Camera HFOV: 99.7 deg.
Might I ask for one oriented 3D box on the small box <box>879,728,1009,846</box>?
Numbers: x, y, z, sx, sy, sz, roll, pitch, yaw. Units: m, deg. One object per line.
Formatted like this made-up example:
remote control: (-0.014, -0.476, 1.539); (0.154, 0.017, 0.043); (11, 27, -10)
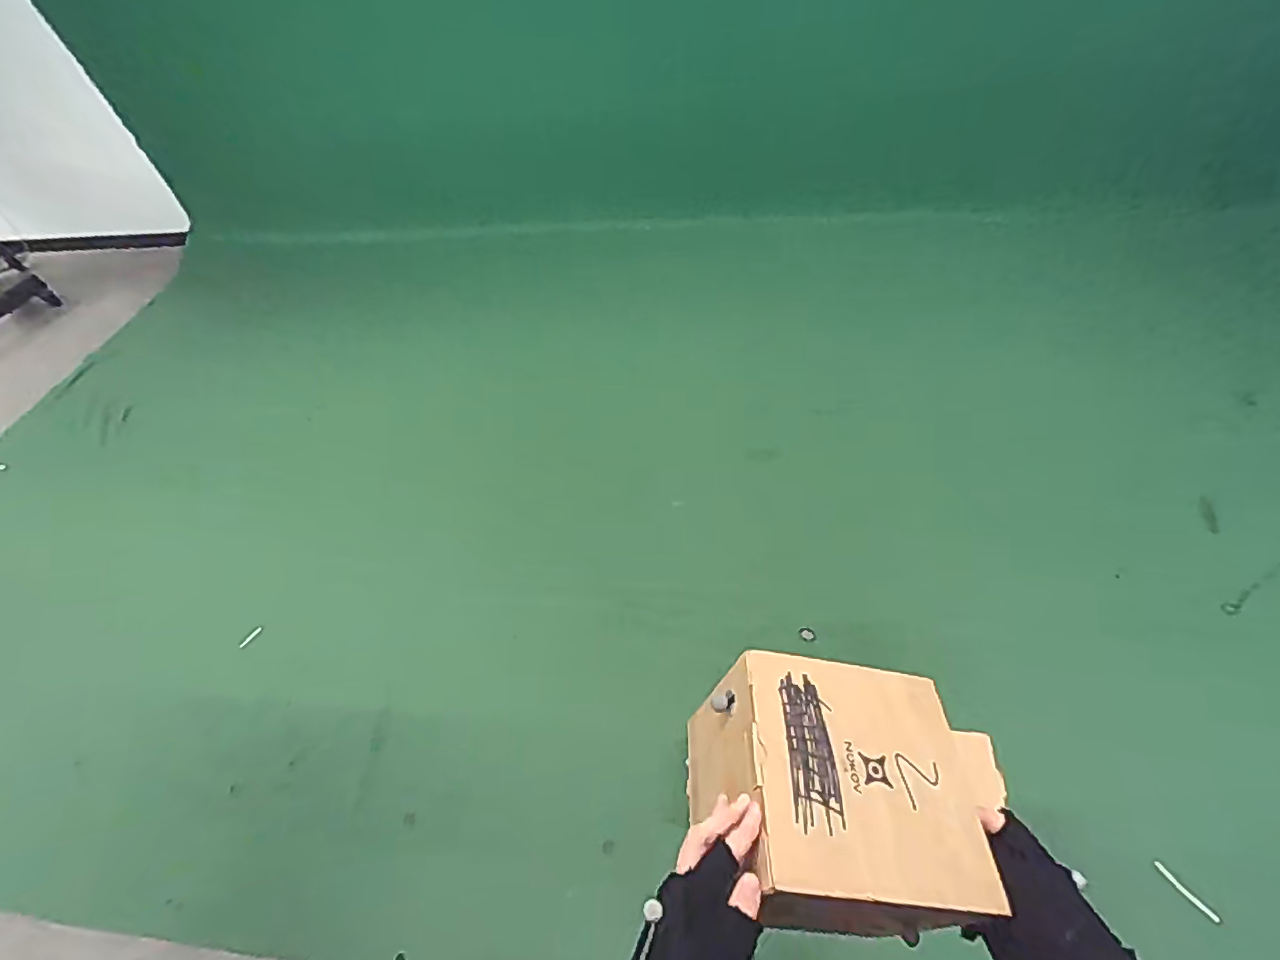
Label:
small box: (0.567, 0.598, 1.049); (0.179, 0.176, 0.168); (3, 52, 9)

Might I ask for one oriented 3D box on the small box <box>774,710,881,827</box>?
small box: (0.370, 0.582, 1.086); (0.179, 0.176, 0.168); (6, 54, 13)
